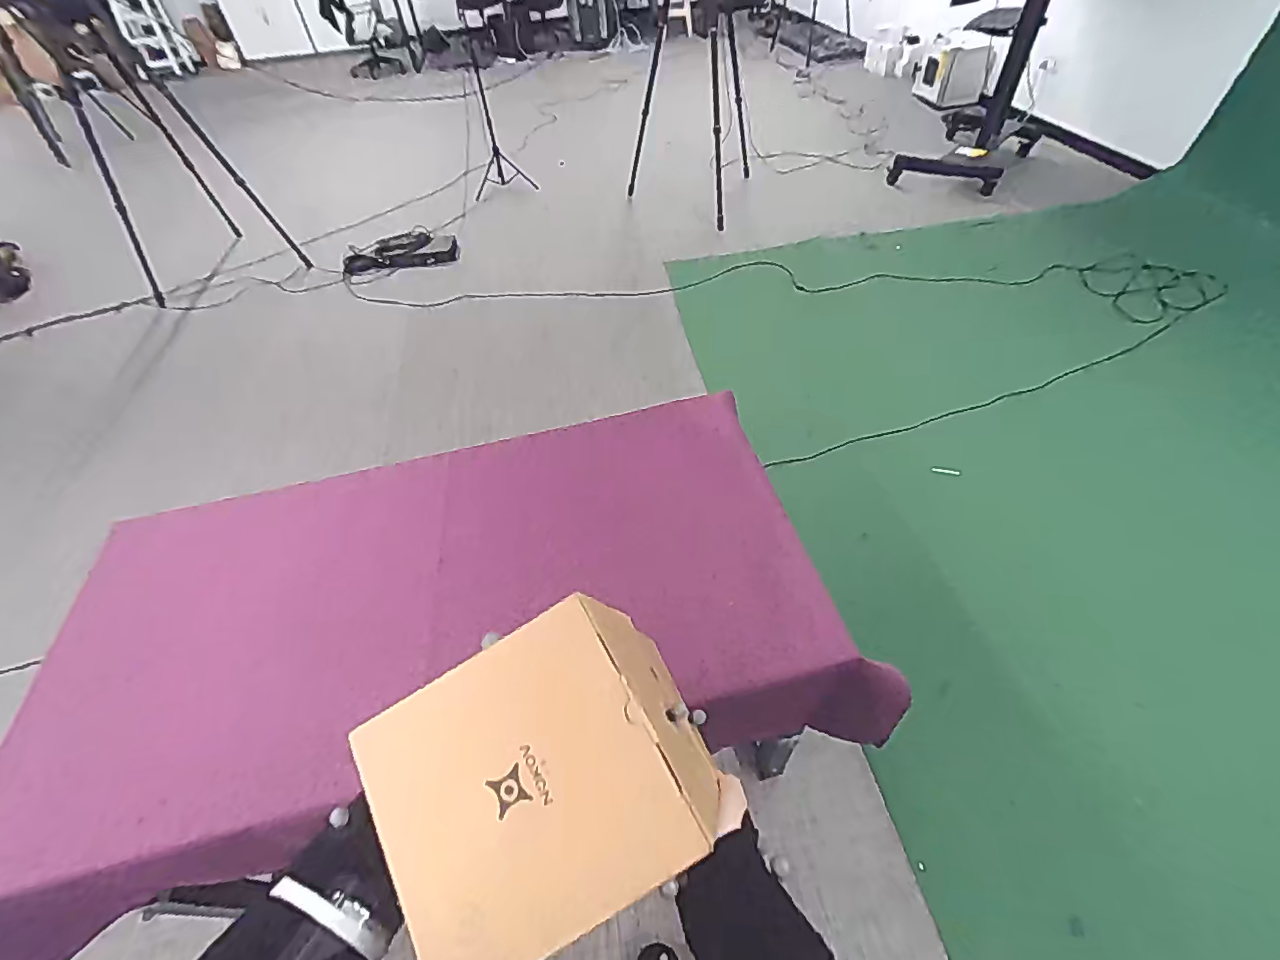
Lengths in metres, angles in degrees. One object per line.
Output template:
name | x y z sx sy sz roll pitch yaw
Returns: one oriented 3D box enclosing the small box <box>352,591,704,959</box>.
small box | -0.065 0.208 0.401 0.179 0.176 0.168 -31 68 -4
